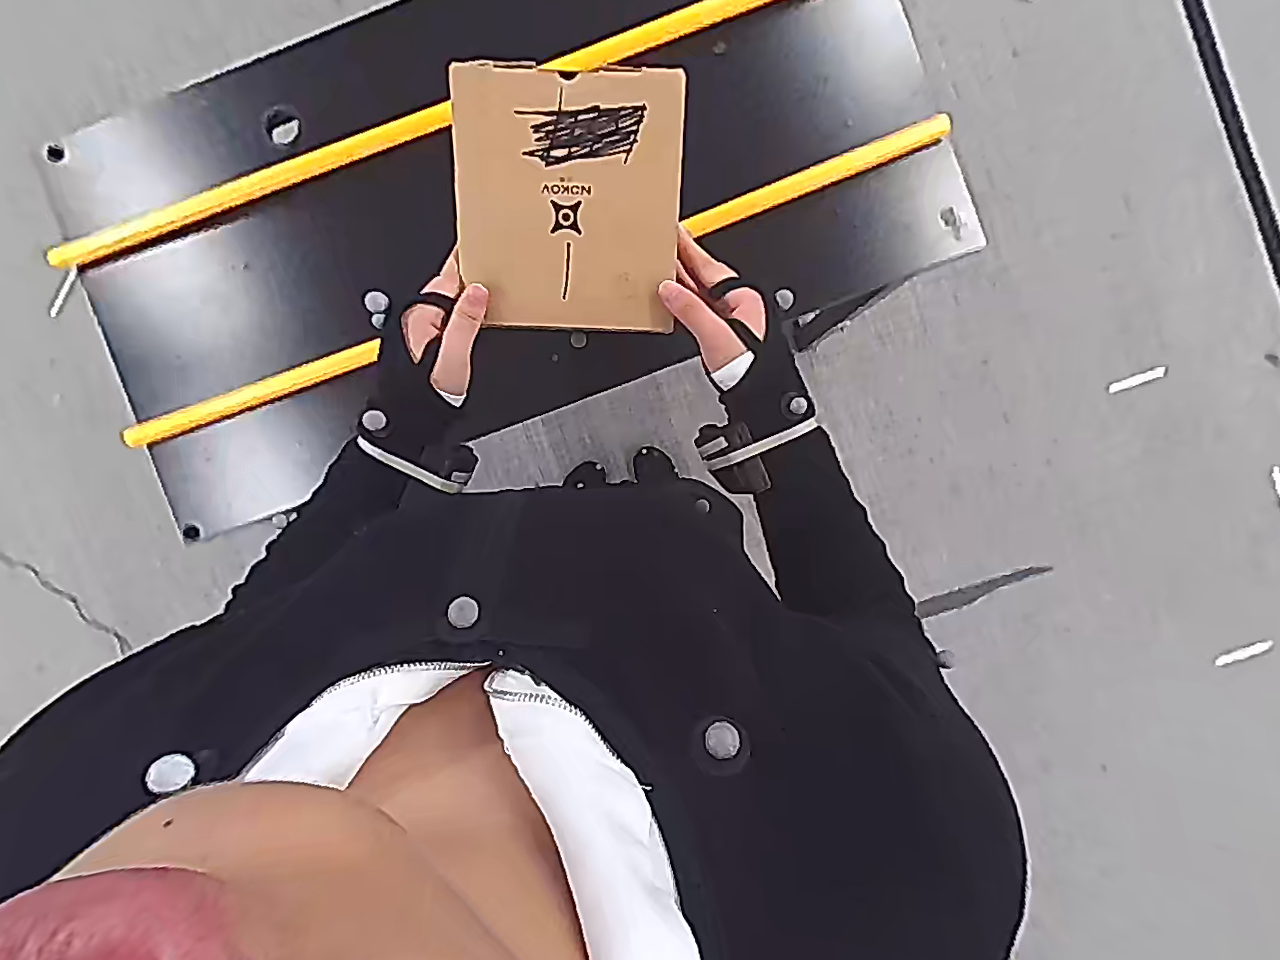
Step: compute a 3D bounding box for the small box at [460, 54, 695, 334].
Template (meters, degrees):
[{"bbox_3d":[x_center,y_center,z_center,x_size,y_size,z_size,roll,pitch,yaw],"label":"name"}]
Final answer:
[{"bbox_3d":[-0.049,-0.225,0.473,0.168,0.176,0.179,4,105,0],"label":"small box"}]
